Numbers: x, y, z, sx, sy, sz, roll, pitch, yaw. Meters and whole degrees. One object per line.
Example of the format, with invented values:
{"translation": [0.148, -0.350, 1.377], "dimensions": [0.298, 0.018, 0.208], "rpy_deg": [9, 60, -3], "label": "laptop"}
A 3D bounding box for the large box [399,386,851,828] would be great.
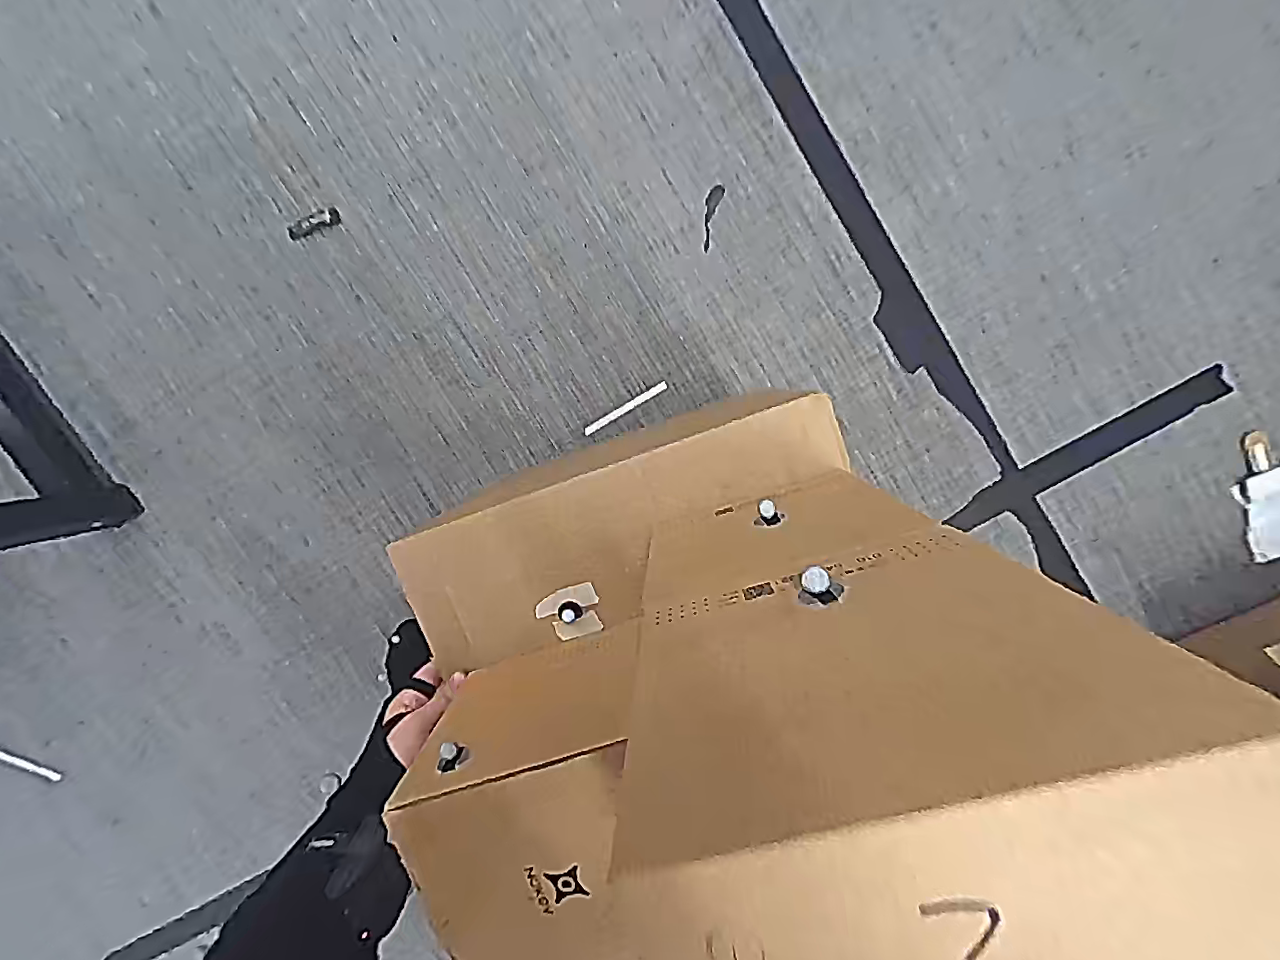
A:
{"translation": [0.029, 0.106, 0.628], "dimensions": [0.408, 0.320, 0.320], "rpy_deg": [-20, 97, 7], "label": "large box"}

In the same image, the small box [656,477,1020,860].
{"translation": [0.112, 0.104, 0.373], "dimensions": [0.168, 0.176, 0.179], "rpy_deg": [-17, 99, 7], "label": "small box"}
